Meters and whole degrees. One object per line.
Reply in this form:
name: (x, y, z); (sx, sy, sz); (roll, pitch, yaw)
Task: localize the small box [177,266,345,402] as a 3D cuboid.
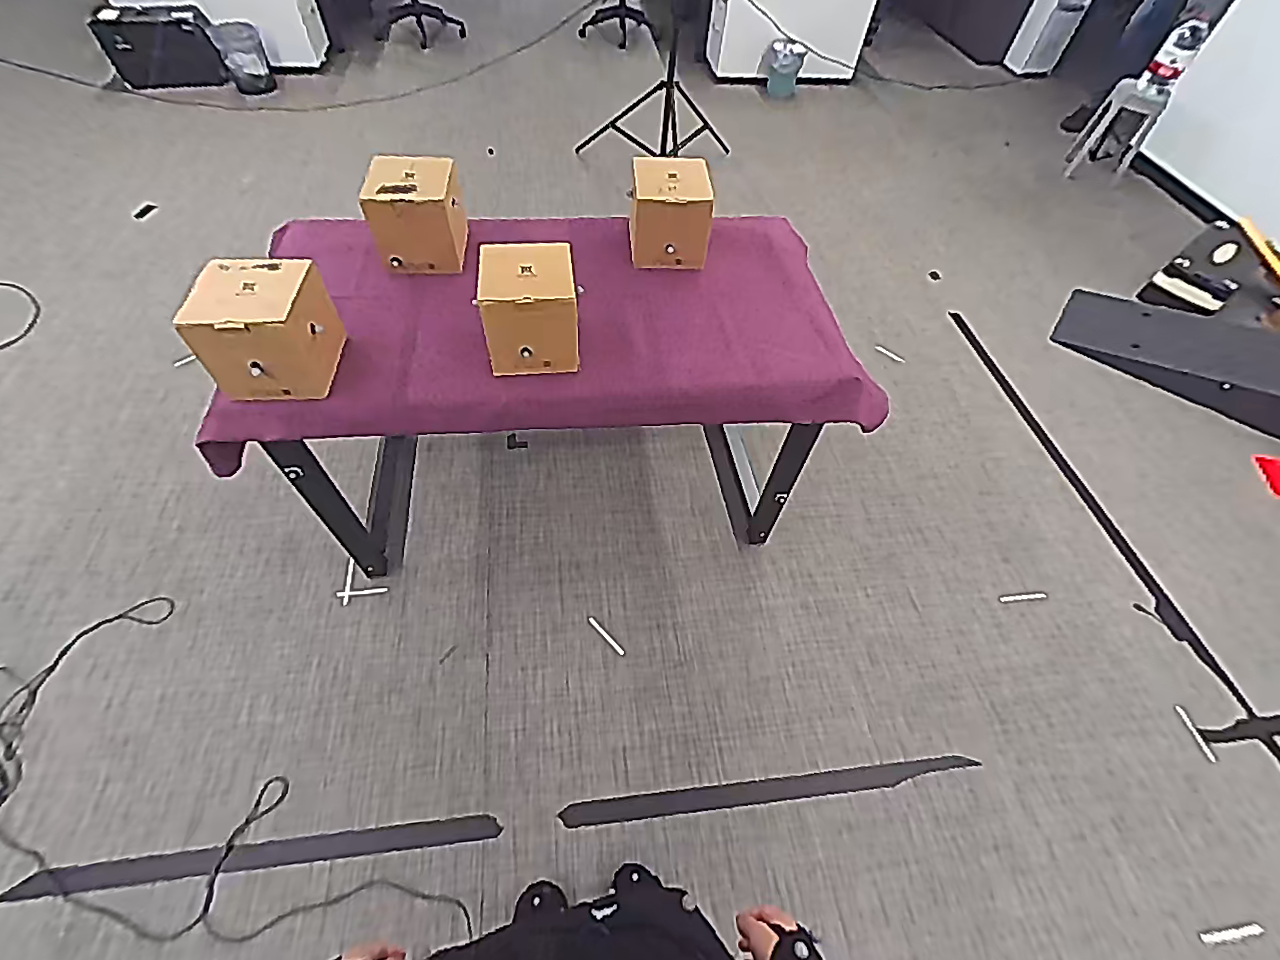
small box: (-0.645, -0.251, 0.949); (0.168, 0.176, 0.179); (-3, 55, -7)

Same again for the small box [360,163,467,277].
small box: (-0.484, -0.565, 1.185); (0.168, 0.176, 0.179); (-2, 55, -6)

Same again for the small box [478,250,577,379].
small box: (-0.209, -0.315, 1.031); (0.168, 0.176, 0.179); (-5, 54, -8)

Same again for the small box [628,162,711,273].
small box: (0.060, -0.605, 1.251); (0.168, 0.176, 0.179); (-2, 57, -4)
